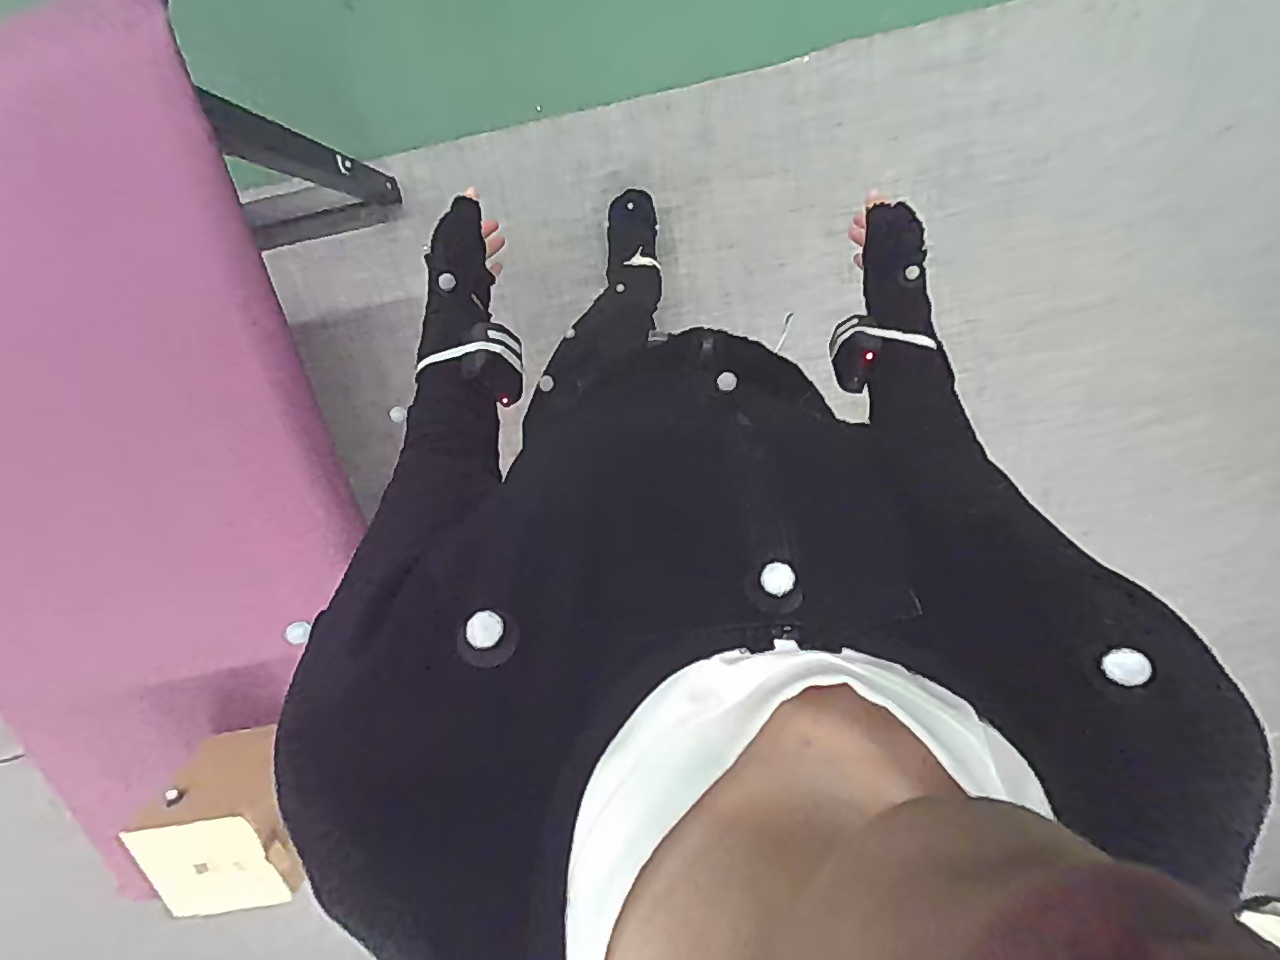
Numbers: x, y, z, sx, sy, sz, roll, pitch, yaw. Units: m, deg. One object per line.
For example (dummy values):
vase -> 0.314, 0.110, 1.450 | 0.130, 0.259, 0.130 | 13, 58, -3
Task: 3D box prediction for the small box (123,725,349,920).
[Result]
small box -> -0.572, 0.492, 0.793 | 0.179, 0.176, 0.168 | -10, 108, 2
